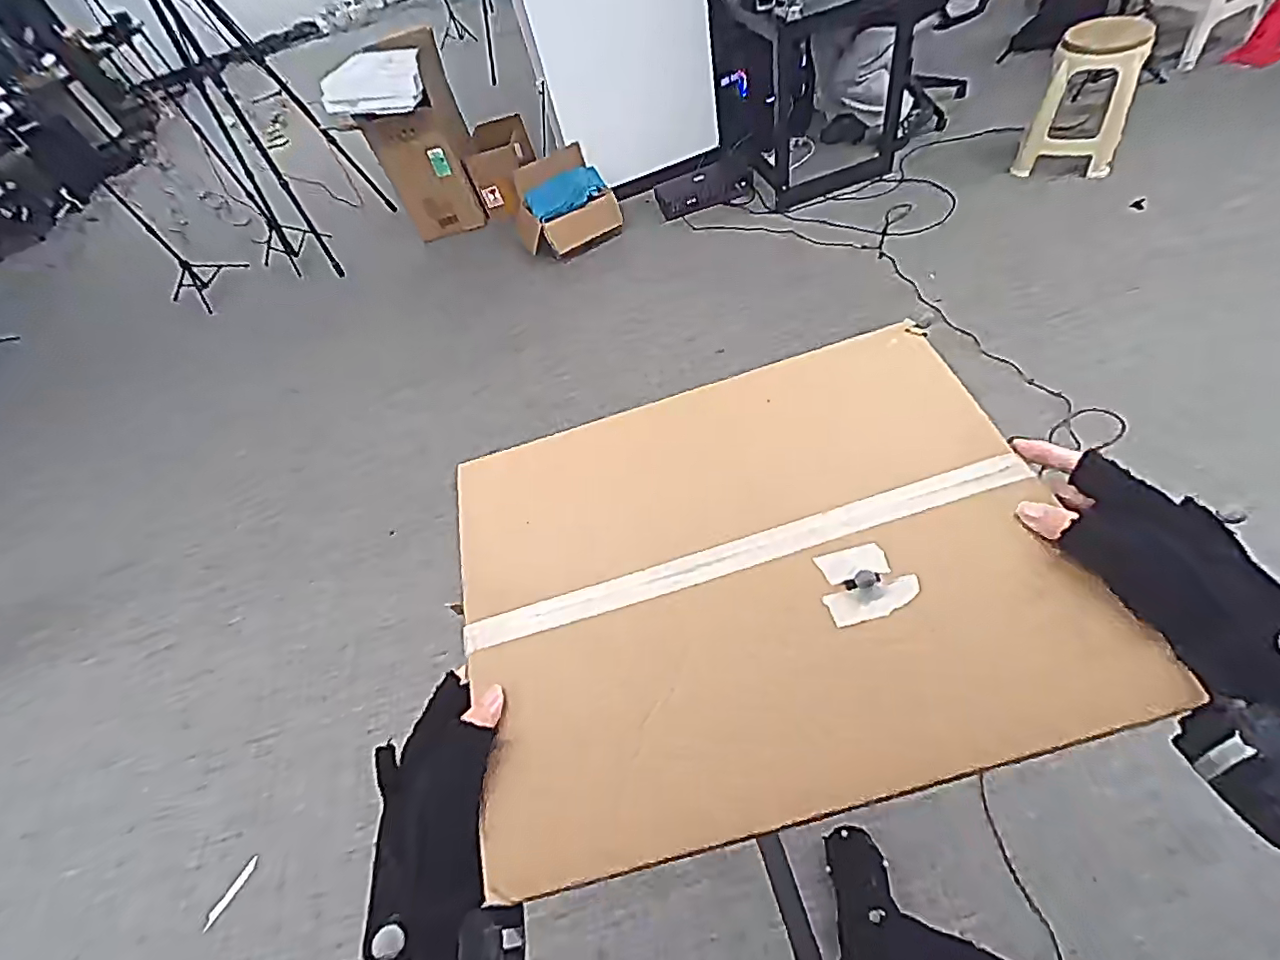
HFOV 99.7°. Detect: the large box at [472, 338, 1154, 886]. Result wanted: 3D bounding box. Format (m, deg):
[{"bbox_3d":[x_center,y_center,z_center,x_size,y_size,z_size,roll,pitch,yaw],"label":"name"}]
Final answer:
[{"bbox_3d":[0.101,0.134,0.519,0.408,0.320,0.320,-18,57,2],"label":"large box"}]
